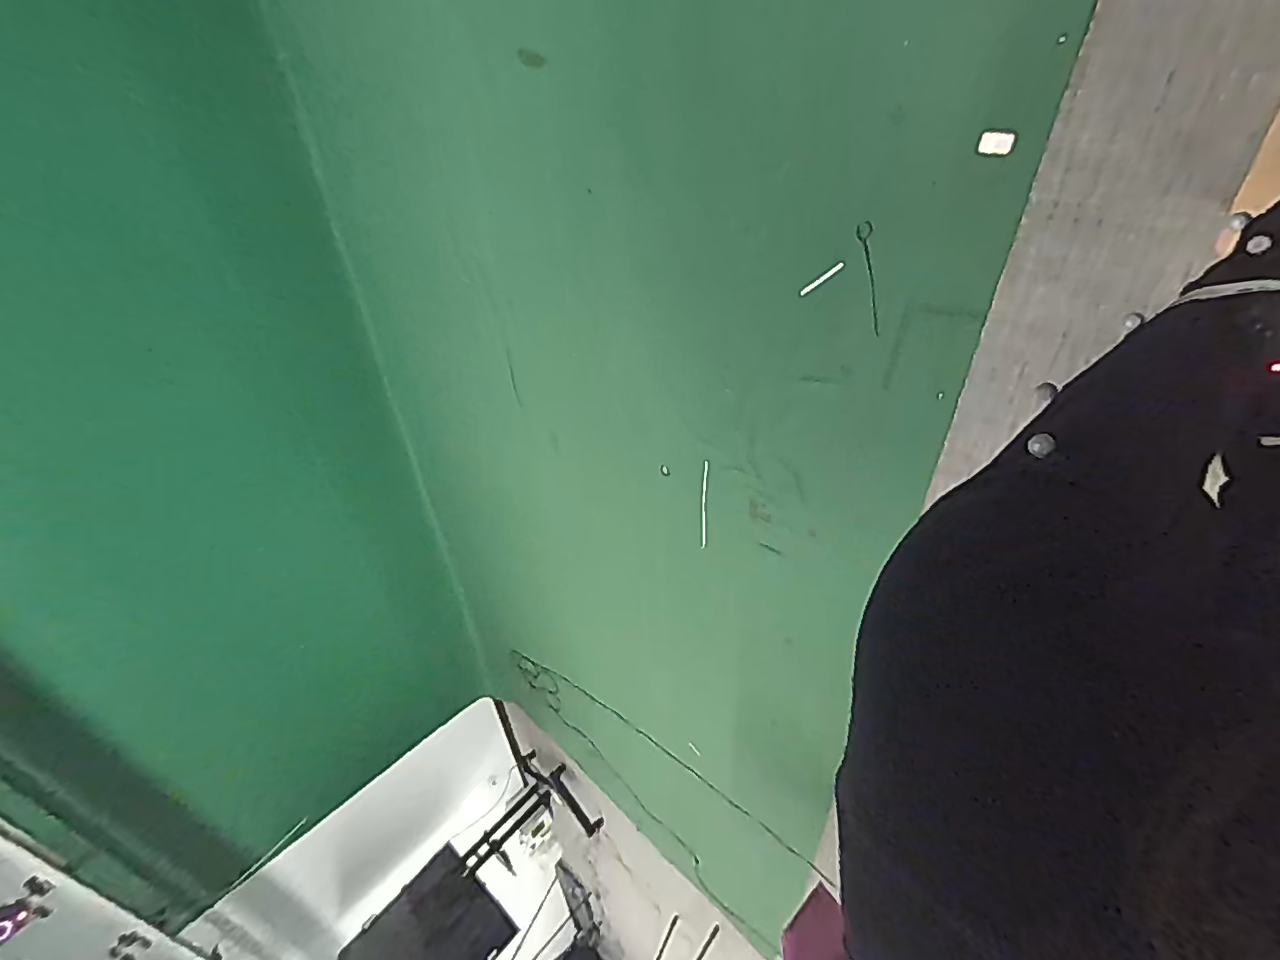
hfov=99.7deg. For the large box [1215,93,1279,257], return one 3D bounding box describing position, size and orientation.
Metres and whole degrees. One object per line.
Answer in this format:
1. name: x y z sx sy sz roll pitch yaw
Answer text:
1. large box: 0.825 -0.426 0.479 0.320 0.320 0.408 25 133 37
